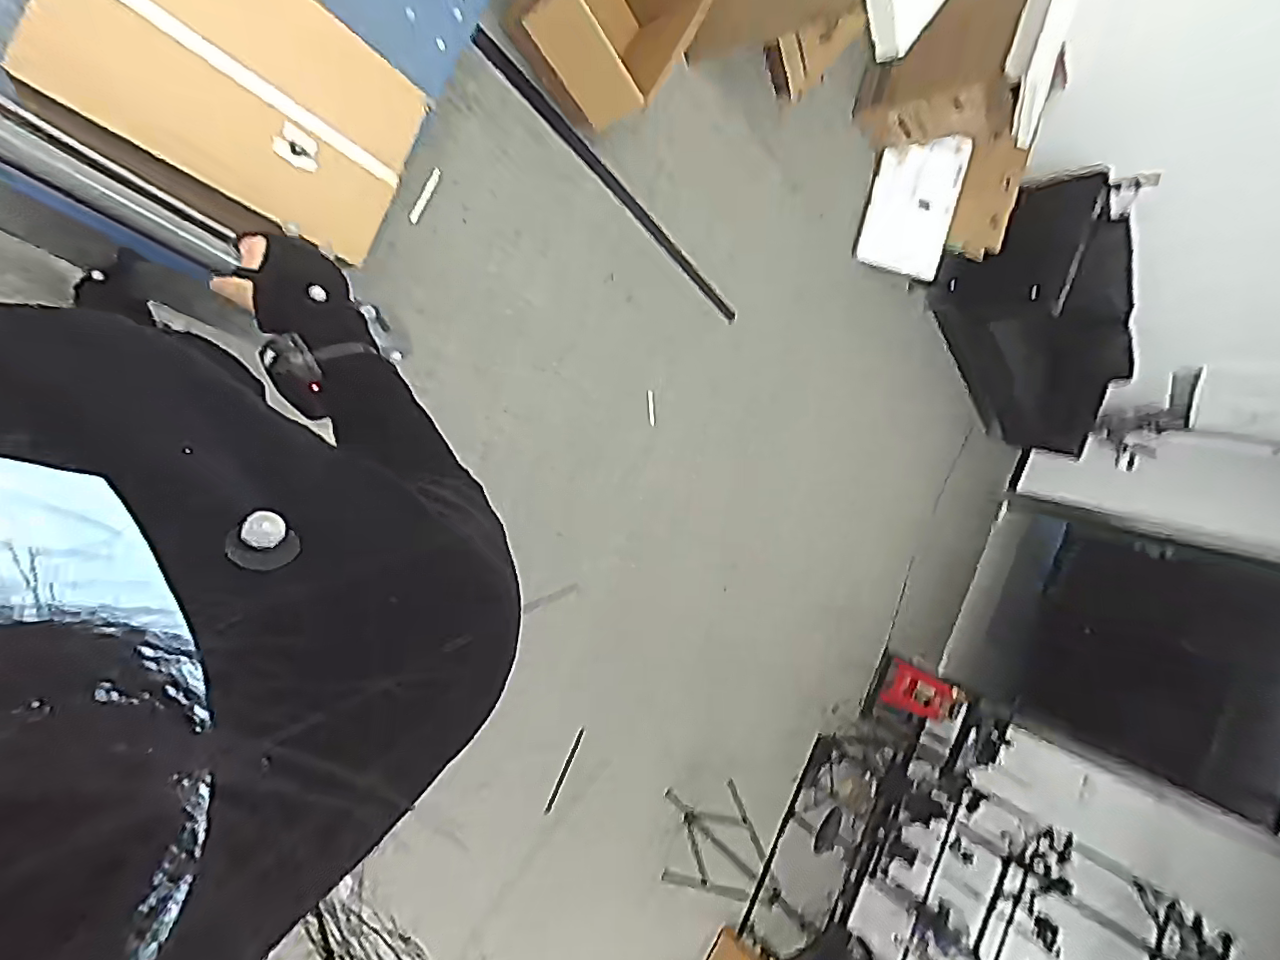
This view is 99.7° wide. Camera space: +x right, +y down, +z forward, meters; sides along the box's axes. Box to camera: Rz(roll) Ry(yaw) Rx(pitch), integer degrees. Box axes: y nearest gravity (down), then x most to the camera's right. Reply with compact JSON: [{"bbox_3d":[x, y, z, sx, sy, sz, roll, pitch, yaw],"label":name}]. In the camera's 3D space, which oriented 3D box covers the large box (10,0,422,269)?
[{"bbox_3d":[-0.651,-0.589,0.869,0.408,0.320,0.320,24,87,-47],"label":"large box"}]
